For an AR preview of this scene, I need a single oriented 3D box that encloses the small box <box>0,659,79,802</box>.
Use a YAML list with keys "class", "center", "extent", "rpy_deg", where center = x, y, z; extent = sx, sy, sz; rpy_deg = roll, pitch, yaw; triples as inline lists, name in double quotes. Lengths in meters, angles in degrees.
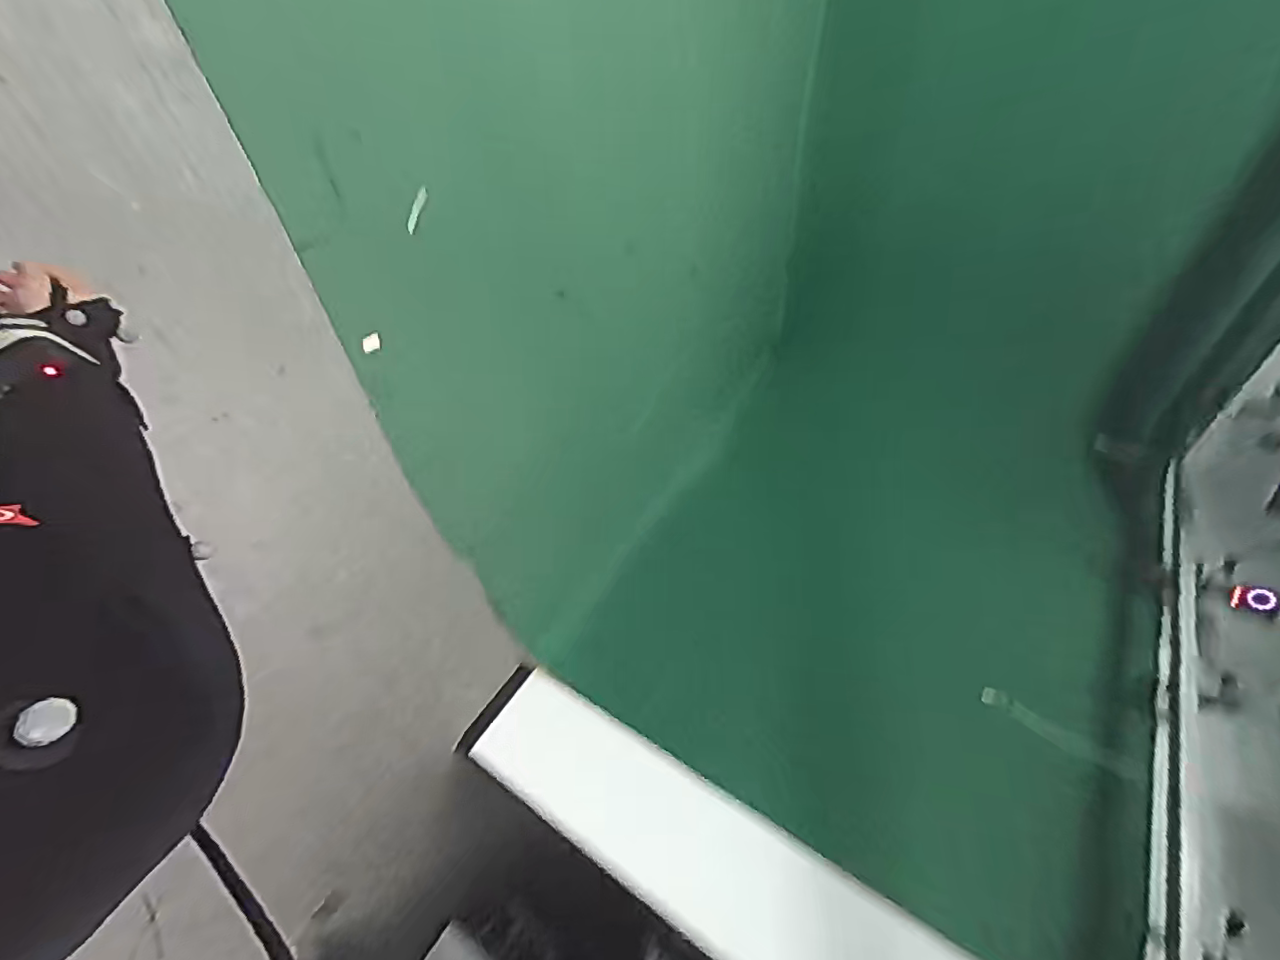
- class: "small box"
  center: [-1.053, 0.395, 0.840]
  extent: [0.168, 0.176, 0.179]
  rpy_deg: [-44, 144, -35]
